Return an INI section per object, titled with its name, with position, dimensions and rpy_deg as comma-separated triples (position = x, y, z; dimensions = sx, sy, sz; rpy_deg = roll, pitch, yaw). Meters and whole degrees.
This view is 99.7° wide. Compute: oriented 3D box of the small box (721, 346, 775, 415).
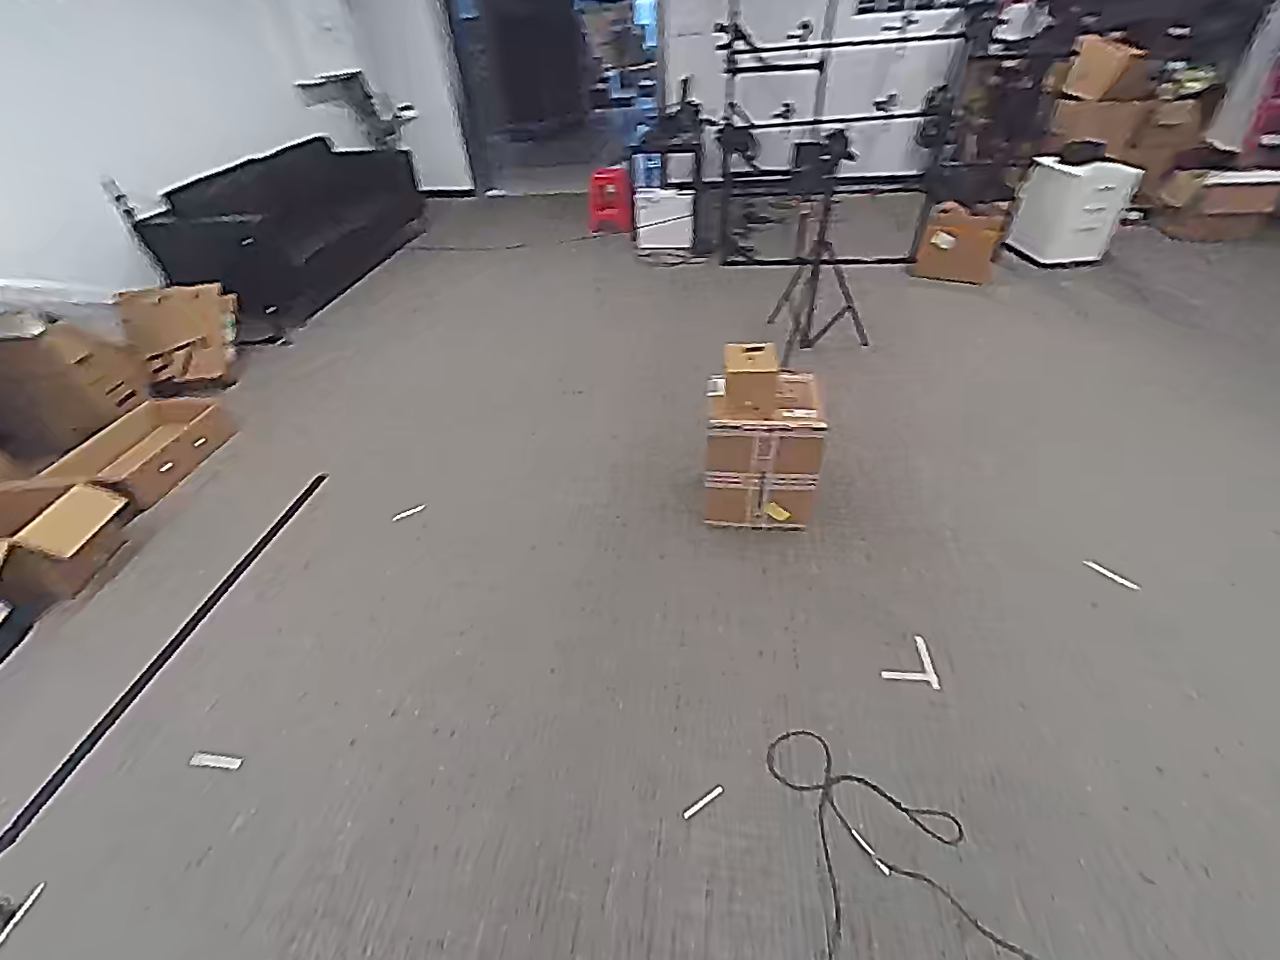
[small box]
position = 0.361, -0.337, 1.832
dimensions = 0.168, 0.176, 0.179
rpy_deg = 0, 44, 7
